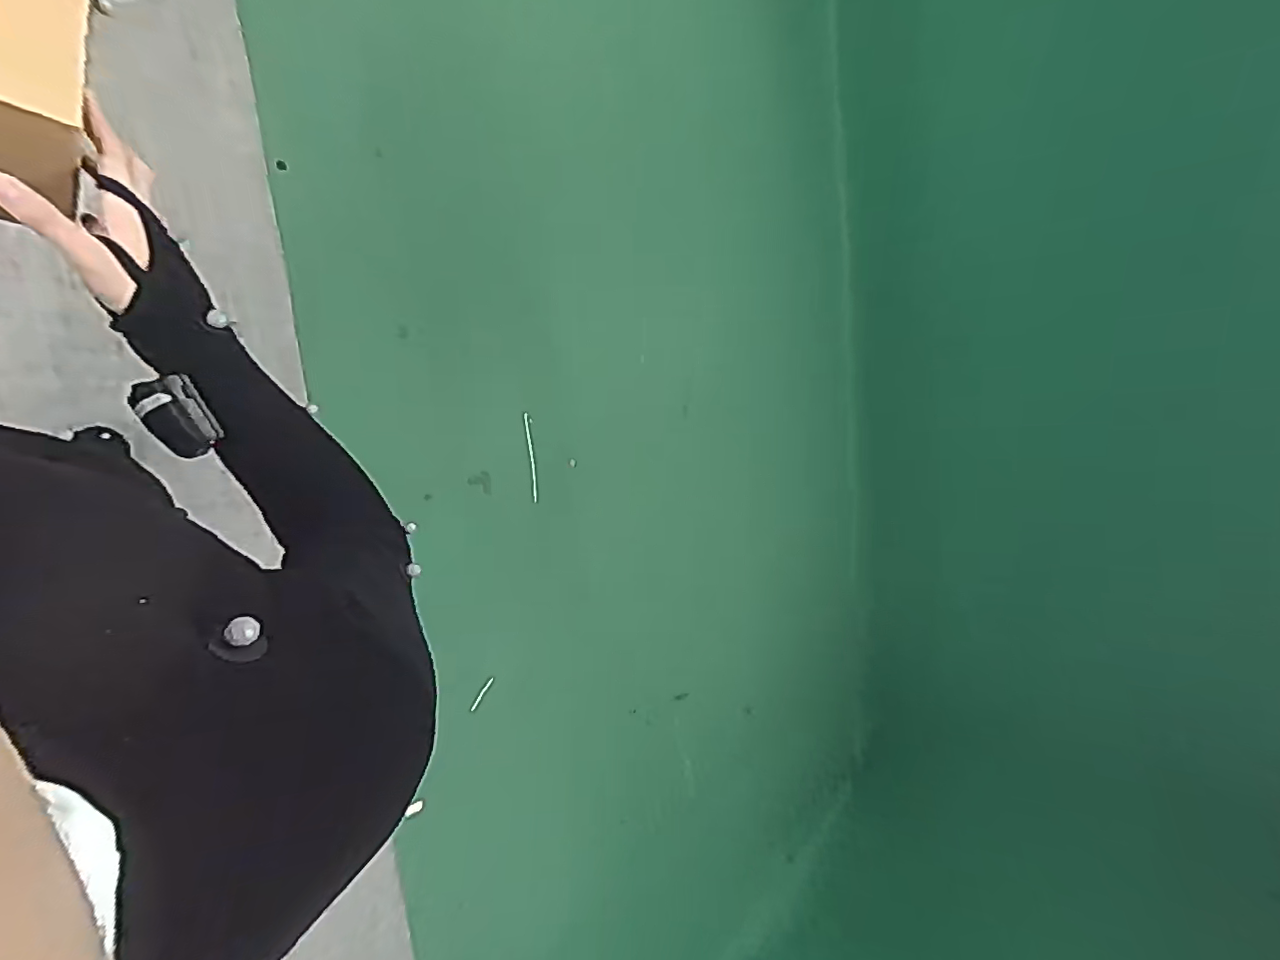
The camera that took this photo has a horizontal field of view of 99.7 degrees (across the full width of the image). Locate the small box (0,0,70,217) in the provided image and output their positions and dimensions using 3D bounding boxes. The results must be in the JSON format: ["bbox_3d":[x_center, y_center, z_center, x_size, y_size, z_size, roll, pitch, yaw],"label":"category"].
[{"bbox_3d":[-0.507,-0.316,0.363,0.168,0.176,0.179,3,77,-48],"label":"small box"}]
